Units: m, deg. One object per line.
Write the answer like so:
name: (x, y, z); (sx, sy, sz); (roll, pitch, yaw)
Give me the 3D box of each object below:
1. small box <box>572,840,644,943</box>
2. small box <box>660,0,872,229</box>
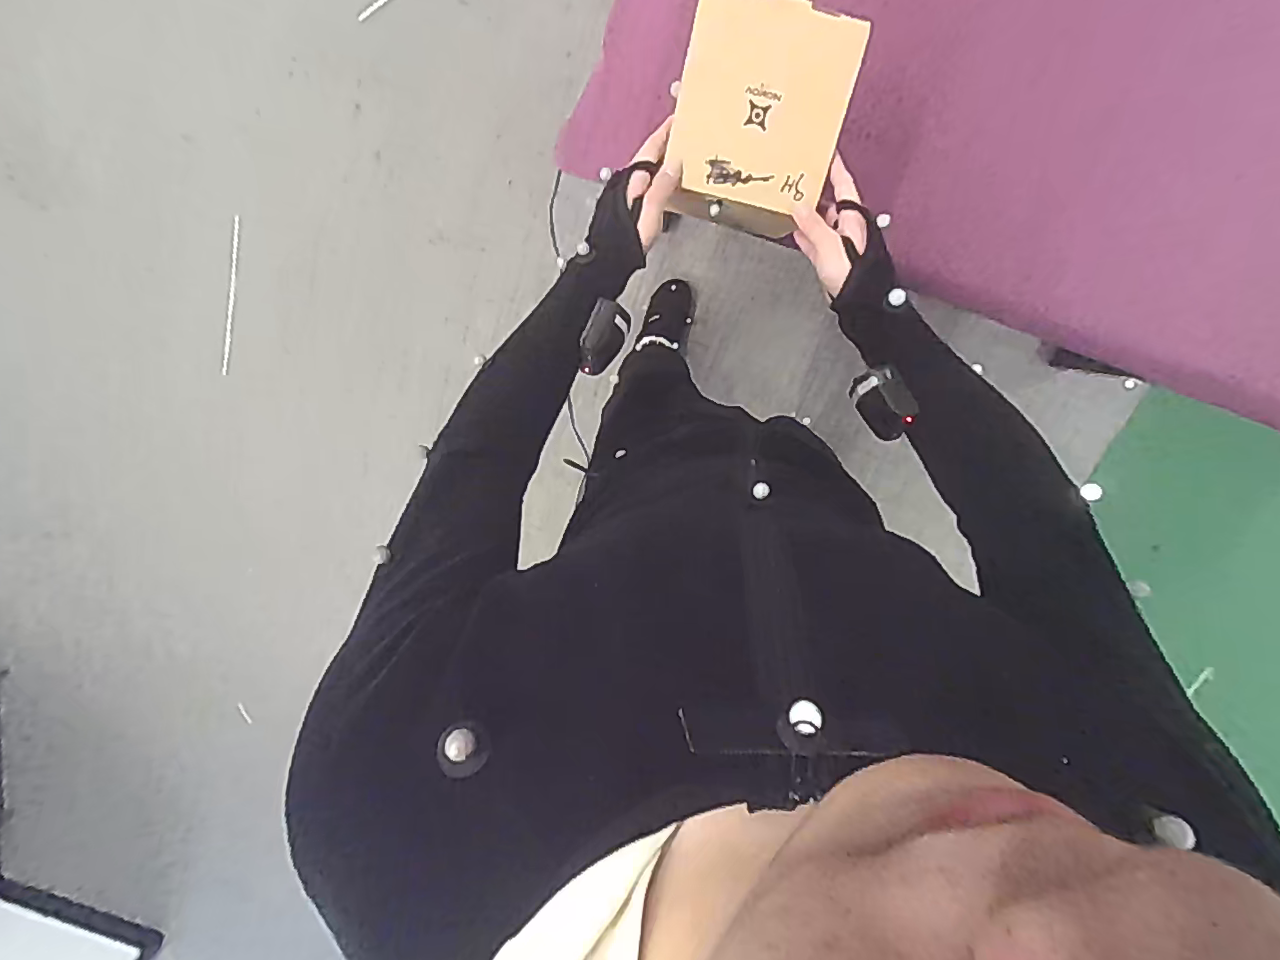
small box: (-0.097, 1.313, 1.732); (0.168, 0.176, 0.179); (25, 108, -1)
small box: (0.120, -0.398, 0.599); (0.168, 0.176, 0.179); (14, 109, -2)
